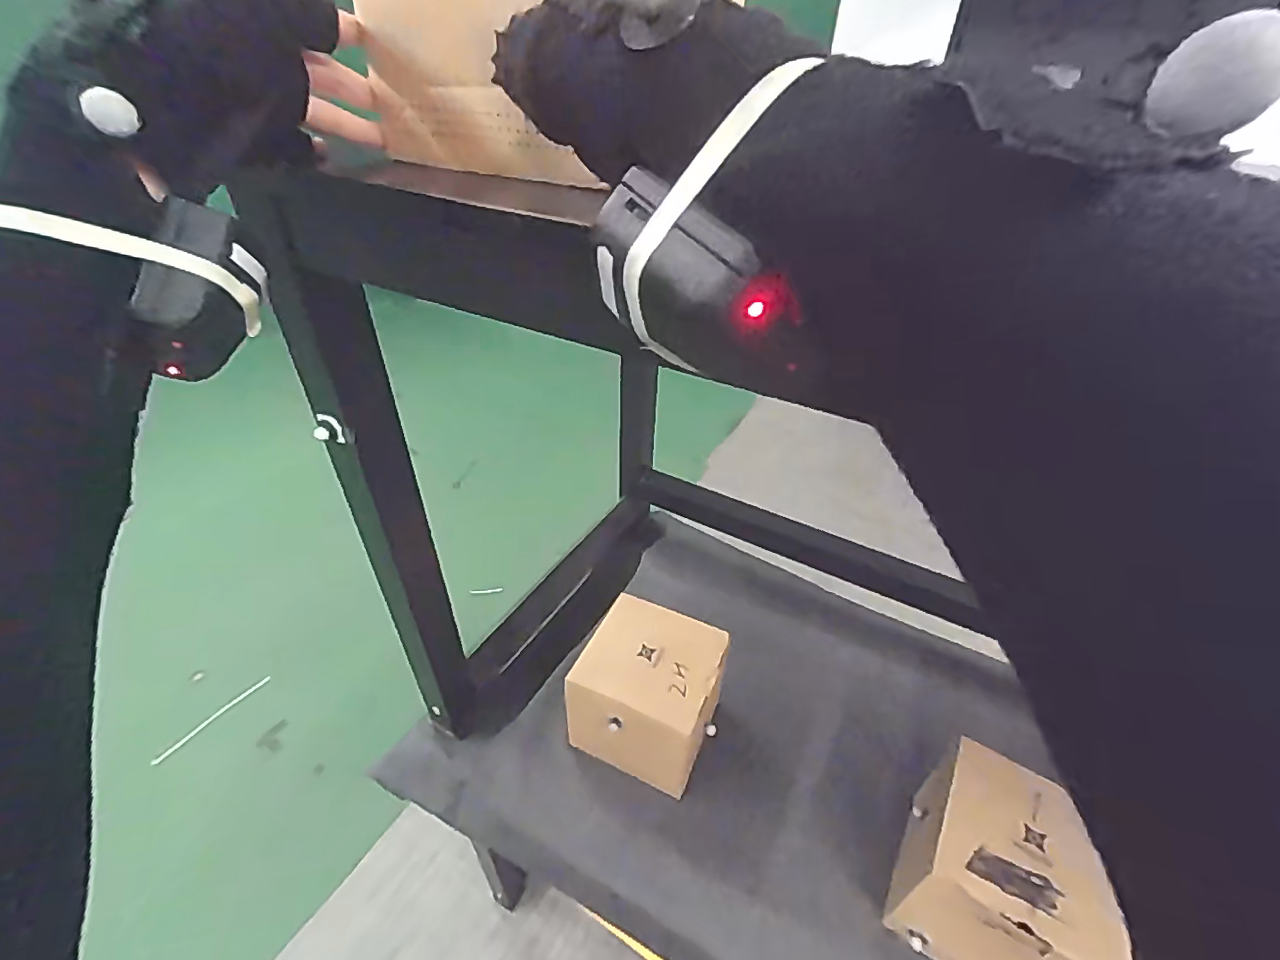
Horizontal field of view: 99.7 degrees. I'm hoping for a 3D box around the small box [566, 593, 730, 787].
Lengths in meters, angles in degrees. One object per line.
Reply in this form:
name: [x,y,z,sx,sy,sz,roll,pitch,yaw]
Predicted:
small box: [0.012,0.300,0.775,0.179,0.176,0.168,18,40,19]
